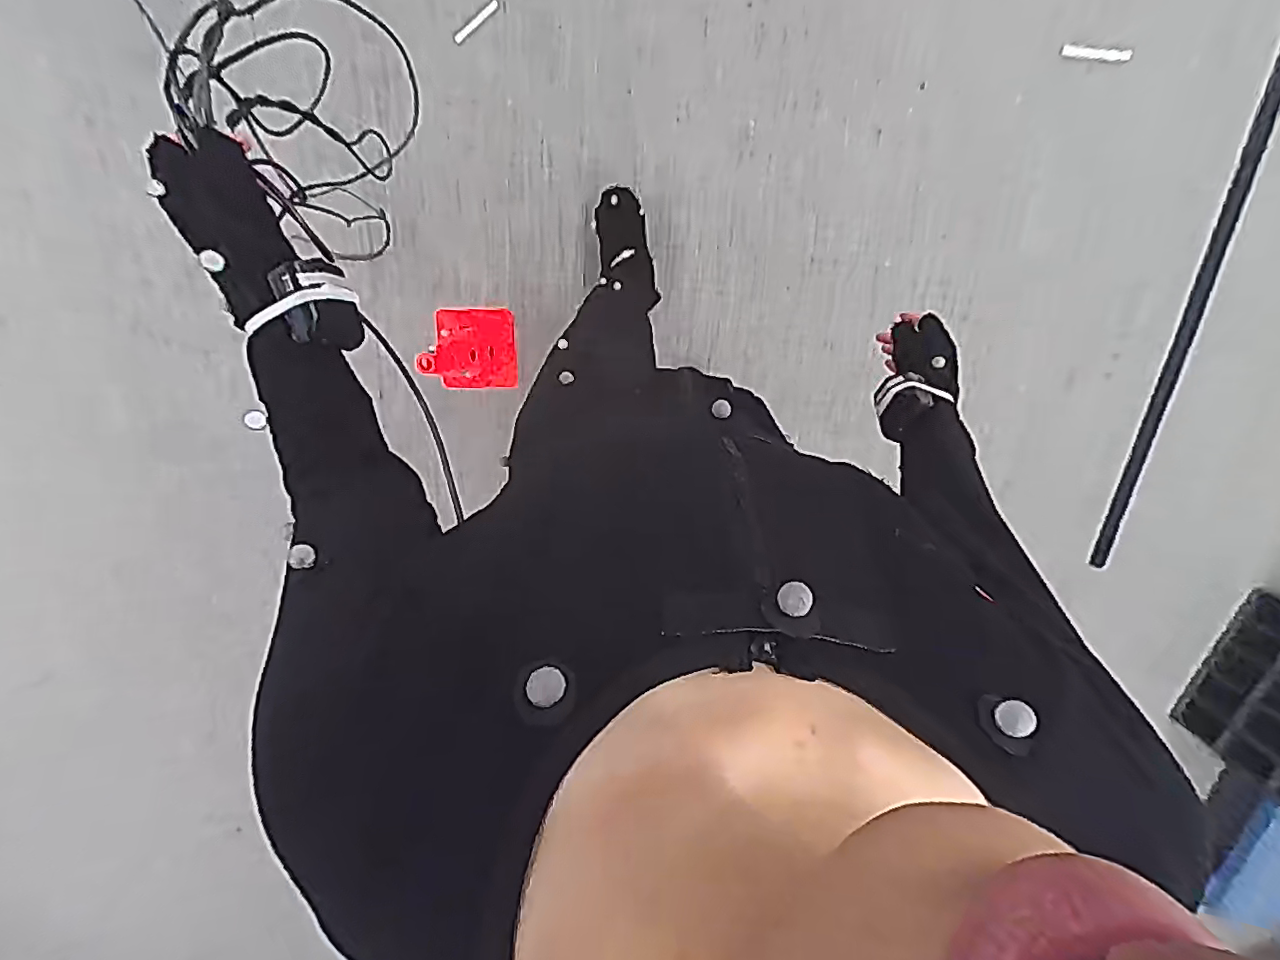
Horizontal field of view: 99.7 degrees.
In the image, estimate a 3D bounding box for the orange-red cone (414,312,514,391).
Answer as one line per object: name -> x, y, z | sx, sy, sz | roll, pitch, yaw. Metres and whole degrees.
orange-red cone -> -0.420, -0.270, 1.212 | 0.199, 0.360, 0.198 | 0, 109, -1
